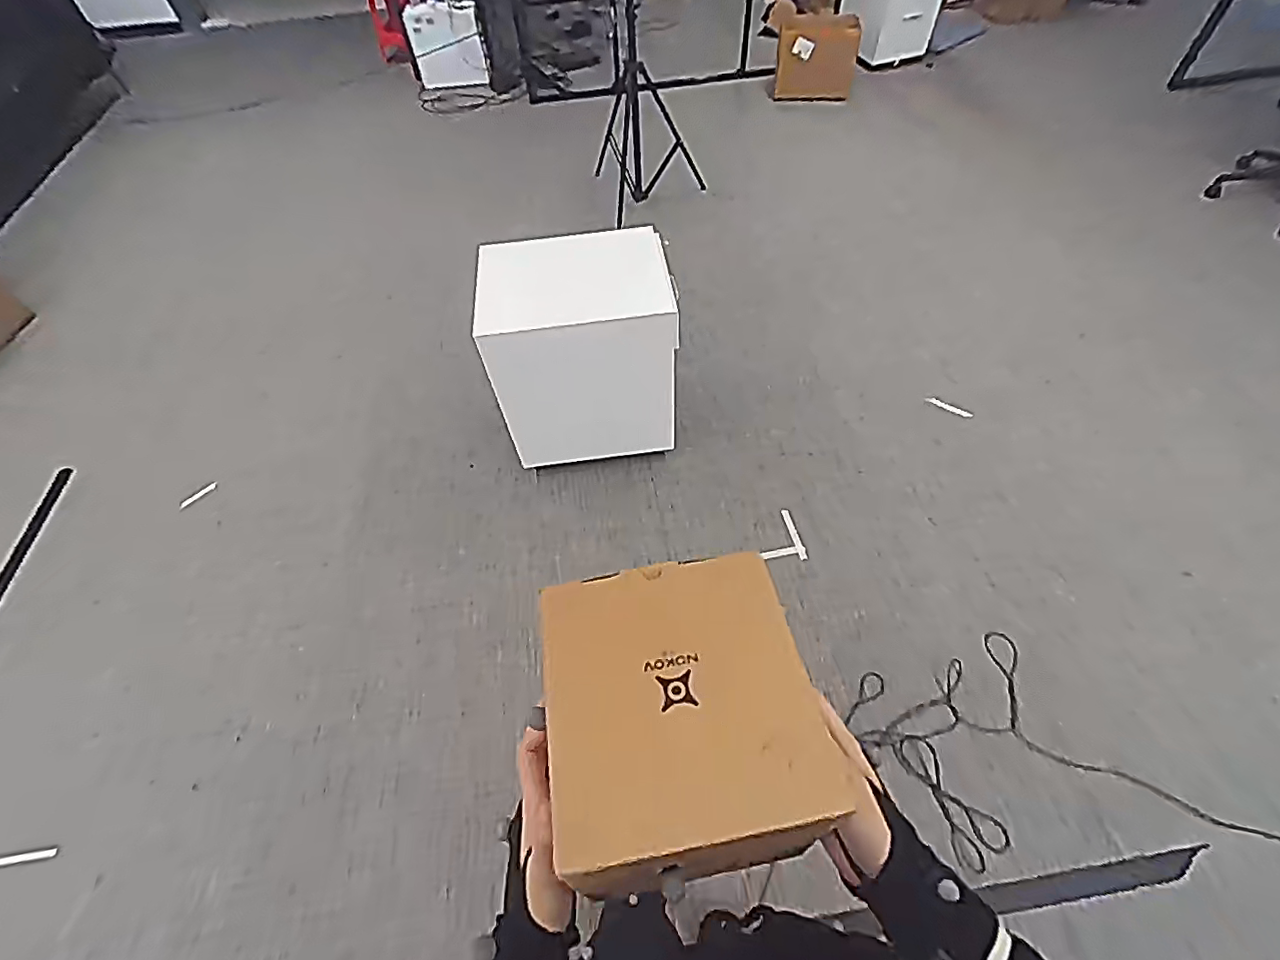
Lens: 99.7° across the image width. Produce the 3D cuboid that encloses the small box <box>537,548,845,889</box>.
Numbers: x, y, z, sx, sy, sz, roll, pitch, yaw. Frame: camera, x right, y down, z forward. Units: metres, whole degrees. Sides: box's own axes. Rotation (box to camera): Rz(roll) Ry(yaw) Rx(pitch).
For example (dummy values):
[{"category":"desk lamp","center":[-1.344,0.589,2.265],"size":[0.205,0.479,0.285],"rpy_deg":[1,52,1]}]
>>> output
[{"category":"small box","center":[0.025,0.180,0.400],"size":[0.168,0.176,0.179],"rpy_deg":[-10,48,-5]}]
